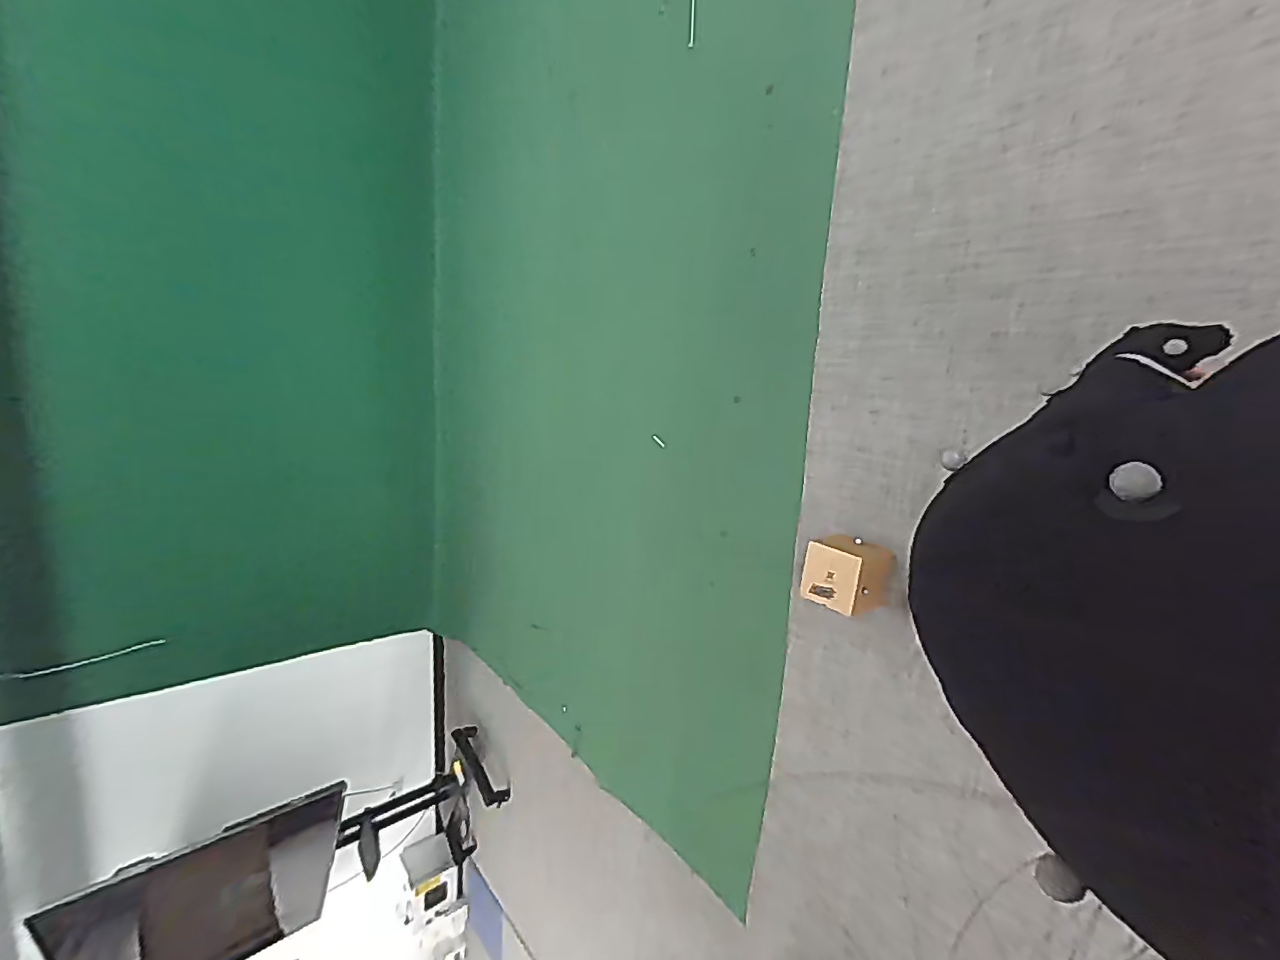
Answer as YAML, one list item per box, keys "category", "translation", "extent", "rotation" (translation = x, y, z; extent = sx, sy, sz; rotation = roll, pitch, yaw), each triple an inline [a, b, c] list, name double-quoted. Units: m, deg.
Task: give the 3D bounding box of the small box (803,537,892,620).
- category: "small box"
  translation: [0.595, 0.273, 1.545]
  extent: [0.168, 0.176, 0.179]
  rotation: [19, 106, 48]
